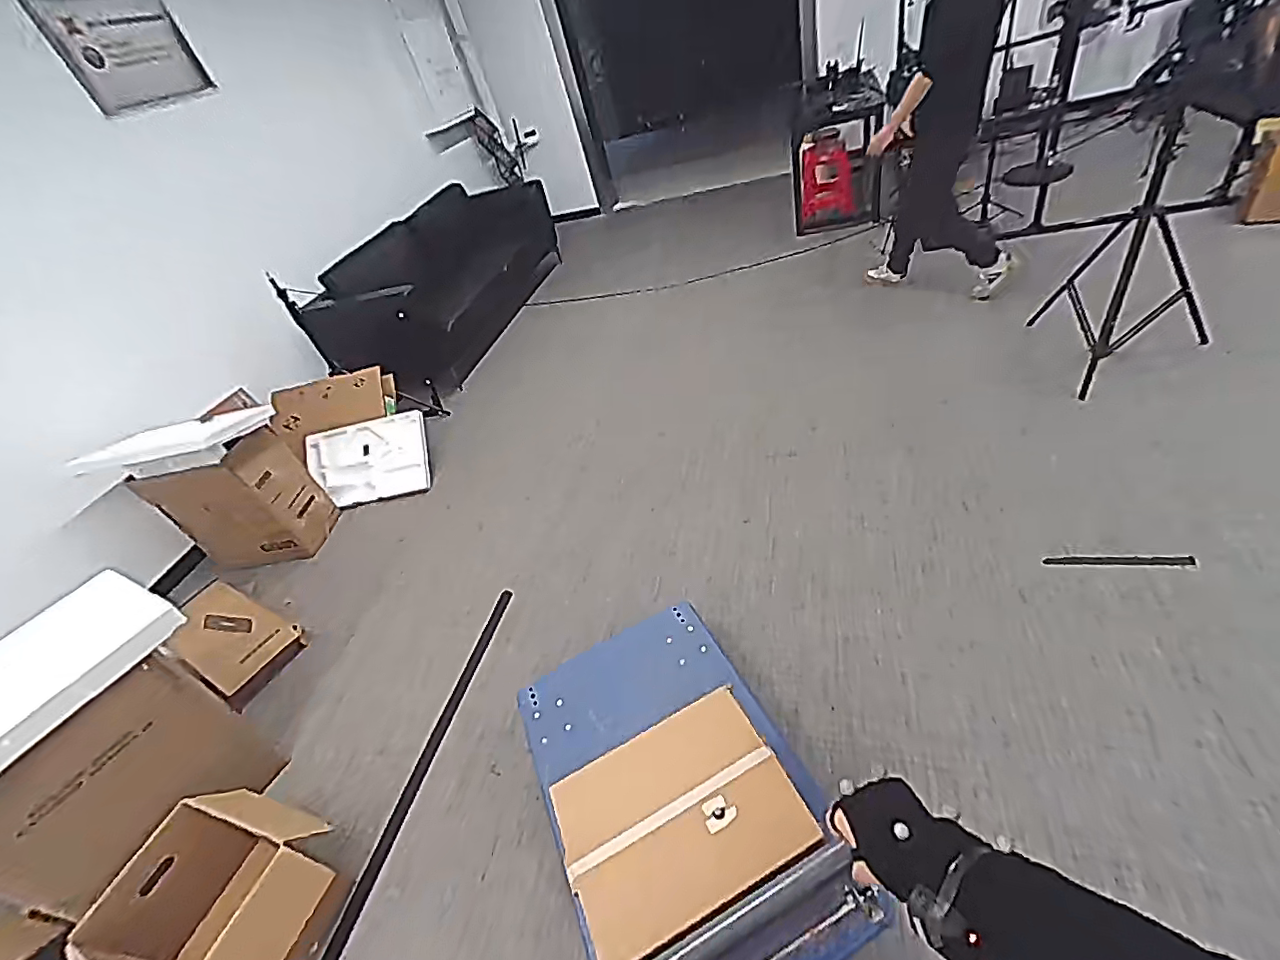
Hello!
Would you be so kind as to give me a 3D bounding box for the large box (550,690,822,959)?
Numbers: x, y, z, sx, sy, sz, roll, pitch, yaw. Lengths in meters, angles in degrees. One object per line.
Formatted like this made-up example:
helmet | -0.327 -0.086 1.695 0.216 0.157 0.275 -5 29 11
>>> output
large box | 0.094 0.705 1.051 0.408 0.320 0.320 -26 40 -10
